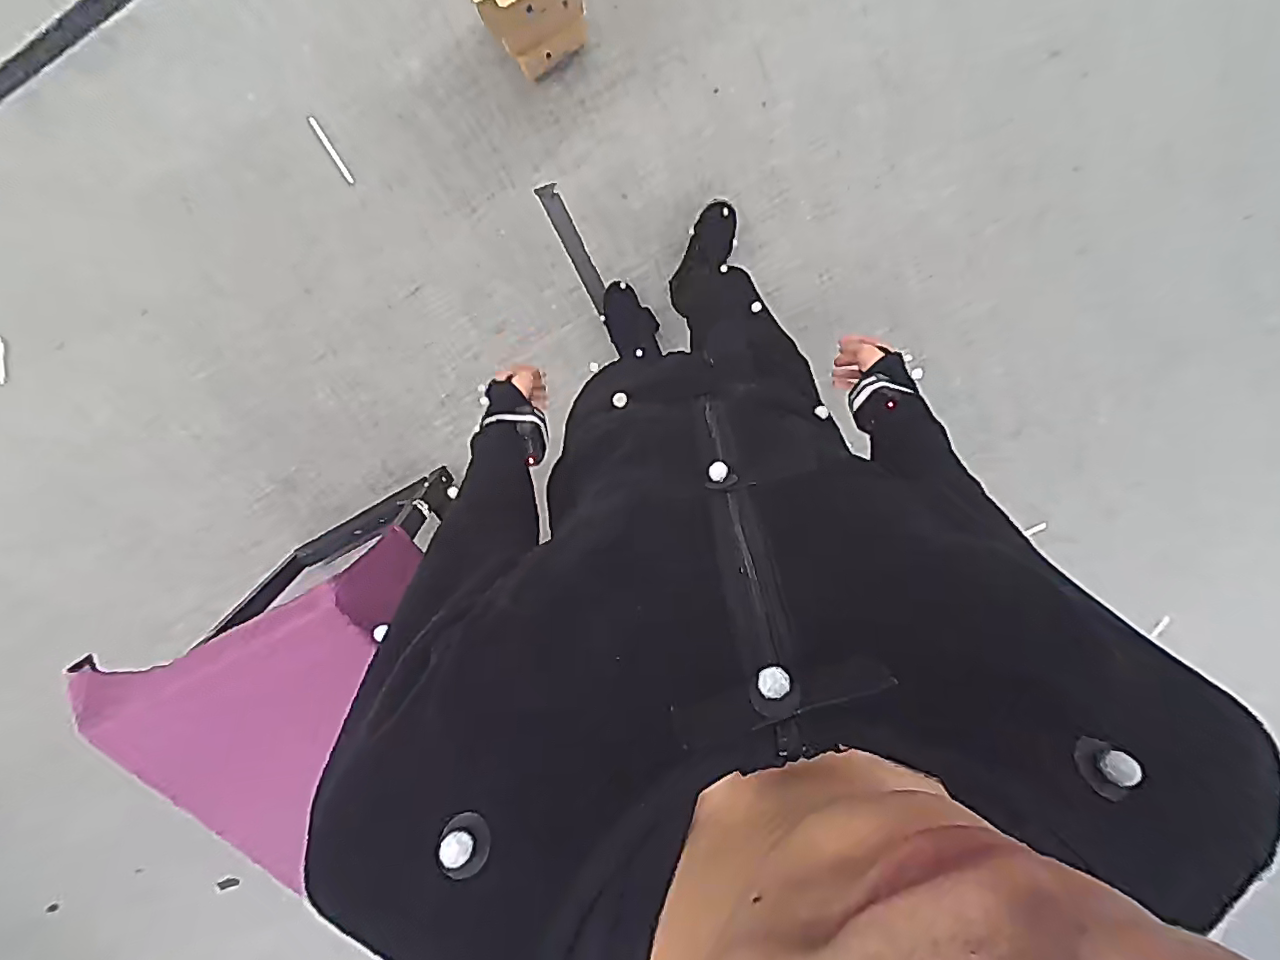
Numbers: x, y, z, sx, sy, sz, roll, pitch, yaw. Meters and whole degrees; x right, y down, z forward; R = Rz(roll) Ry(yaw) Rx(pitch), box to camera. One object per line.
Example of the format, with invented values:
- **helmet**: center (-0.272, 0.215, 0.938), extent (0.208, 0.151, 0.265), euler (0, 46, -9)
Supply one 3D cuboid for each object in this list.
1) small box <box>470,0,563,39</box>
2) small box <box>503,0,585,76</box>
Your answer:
- **small box**: center (-0.227, -0.864, 0.861), extent (0.168, 0.176, 0.179), euler (-26, 112, 7)
- **small box**: center (-0.230, -1.010, 1.158), extent (0.168, 0.176, 0.179), euler (-31, 111, 9)
